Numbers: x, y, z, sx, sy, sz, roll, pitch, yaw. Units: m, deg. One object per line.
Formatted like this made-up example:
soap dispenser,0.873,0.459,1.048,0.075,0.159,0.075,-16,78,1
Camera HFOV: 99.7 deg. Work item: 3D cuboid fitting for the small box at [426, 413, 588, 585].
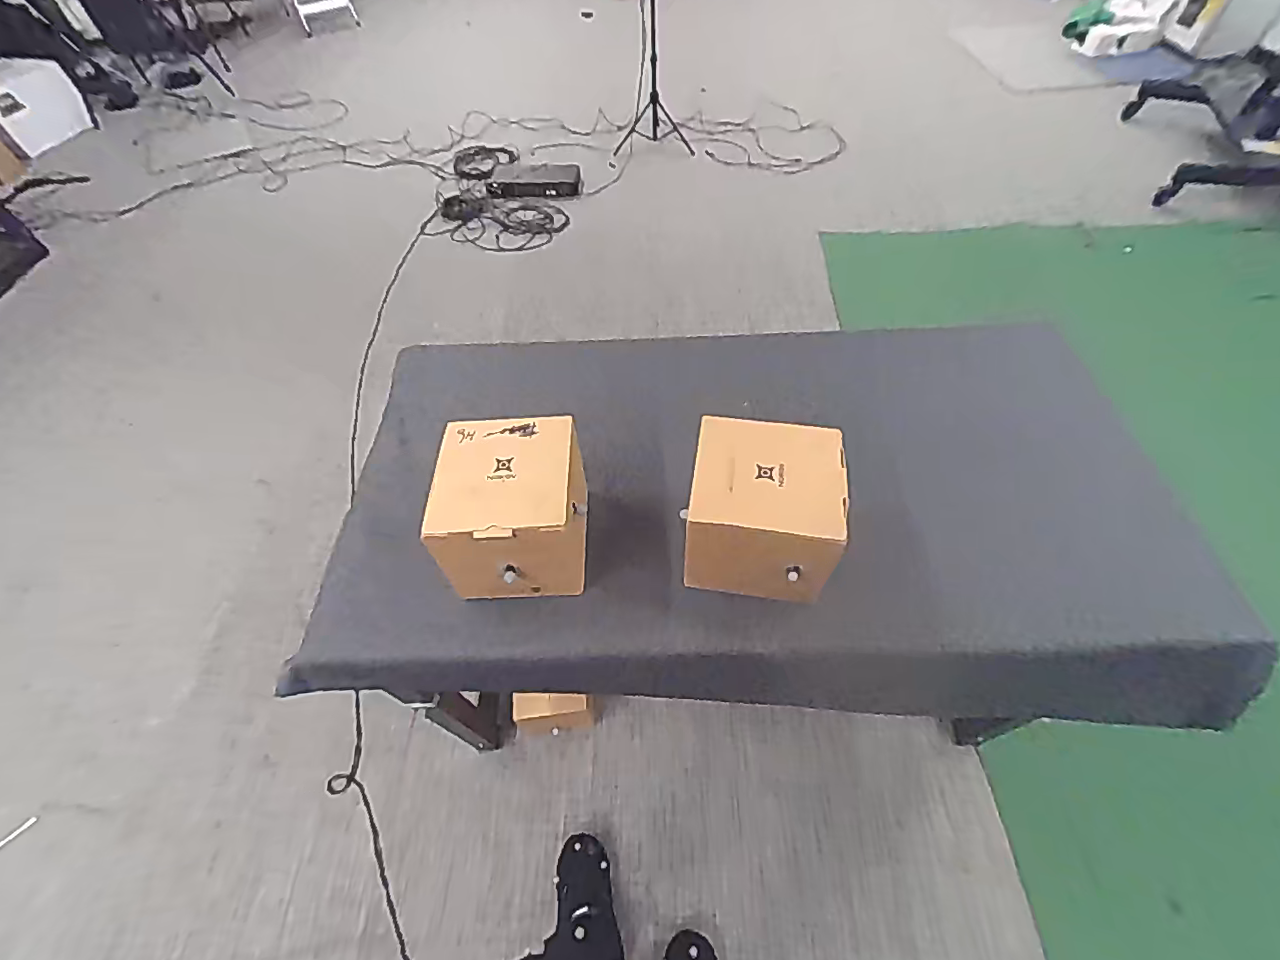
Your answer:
small box,-0.161,0.032,0.723,0.168,0.176,0.179,-2,54,1

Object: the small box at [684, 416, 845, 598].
small box,0.155,0.040,0.708,0.179,0.176,0.168,7,54,8
